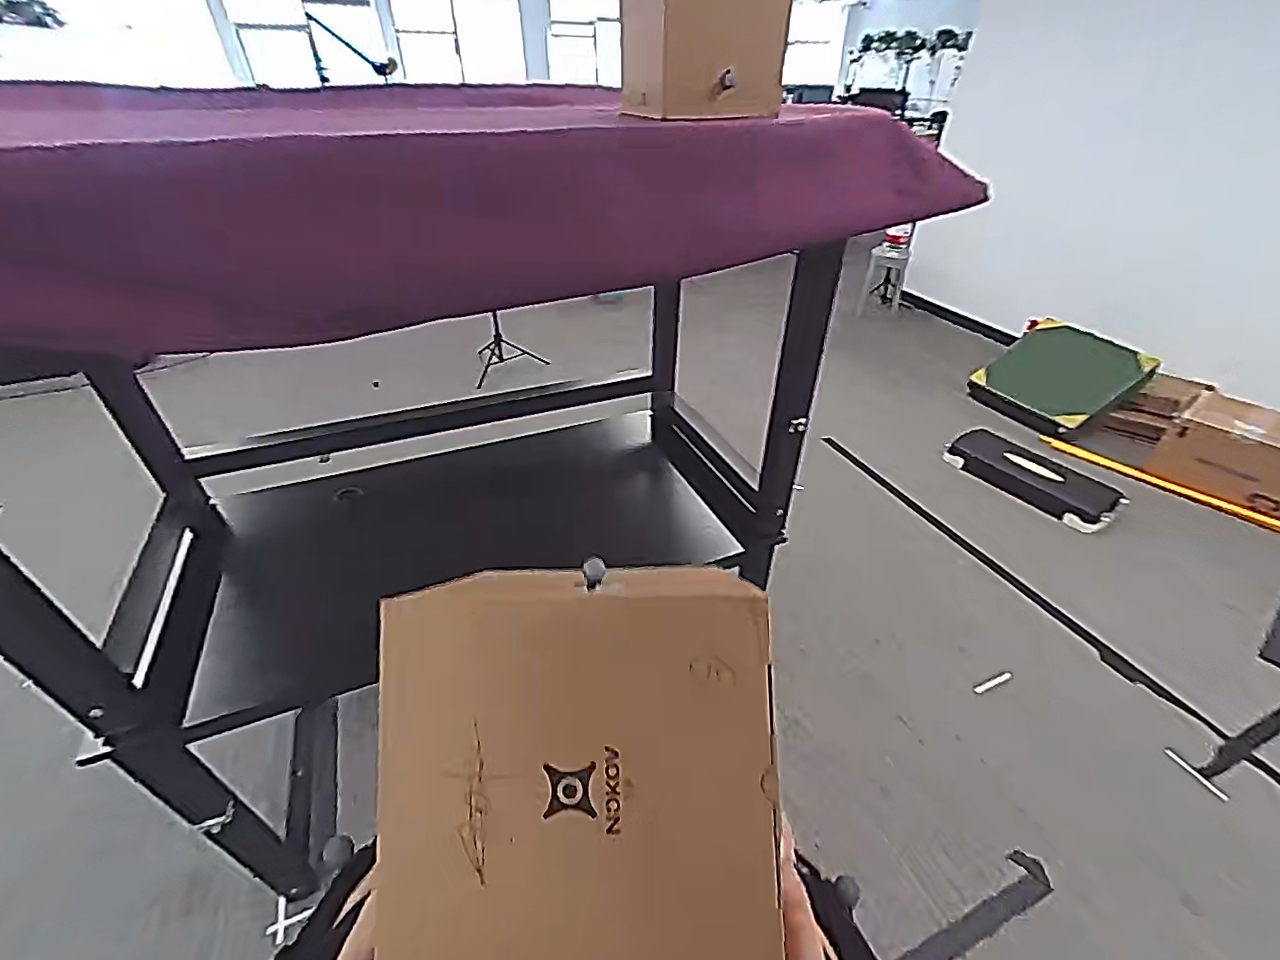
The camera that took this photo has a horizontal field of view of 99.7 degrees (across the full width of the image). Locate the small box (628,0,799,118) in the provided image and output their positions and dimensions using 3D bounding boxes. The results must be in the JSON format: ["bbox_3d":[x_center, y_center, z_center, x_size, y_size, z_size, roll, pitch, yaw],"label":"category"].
[{"bbox_3d":[0.088,-0.586,0.711,0.179,0.176,0.168,-13,38,-17],"label":"small box"}]
